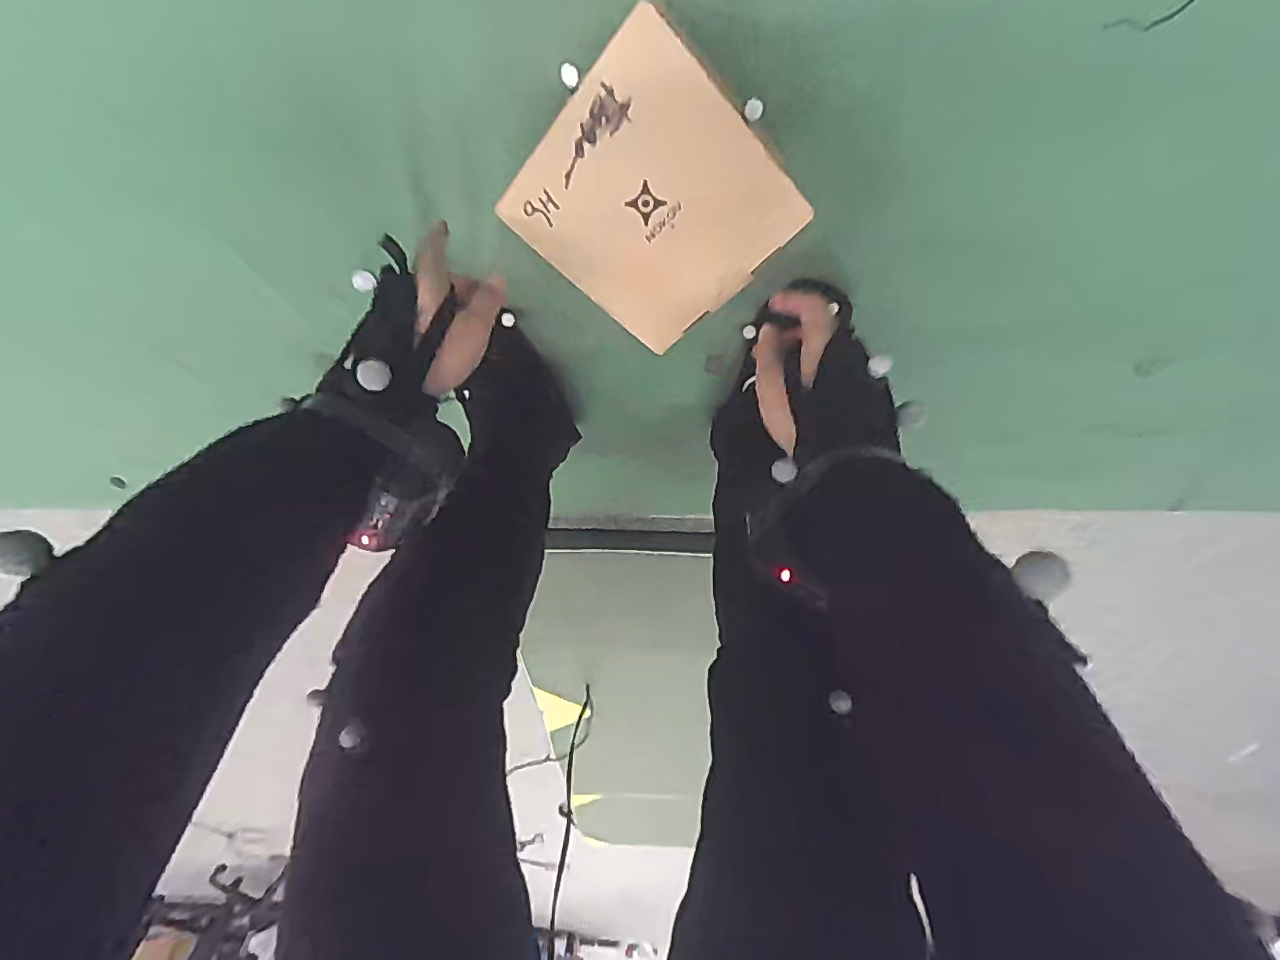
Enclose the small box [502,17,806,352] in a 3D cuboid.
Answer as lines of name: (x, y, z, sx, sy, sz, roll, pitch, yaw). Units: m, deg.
small box: (0.014, -0.254, 0.469, 0.179, 0.176, 0.168, 36, 125, -27)
